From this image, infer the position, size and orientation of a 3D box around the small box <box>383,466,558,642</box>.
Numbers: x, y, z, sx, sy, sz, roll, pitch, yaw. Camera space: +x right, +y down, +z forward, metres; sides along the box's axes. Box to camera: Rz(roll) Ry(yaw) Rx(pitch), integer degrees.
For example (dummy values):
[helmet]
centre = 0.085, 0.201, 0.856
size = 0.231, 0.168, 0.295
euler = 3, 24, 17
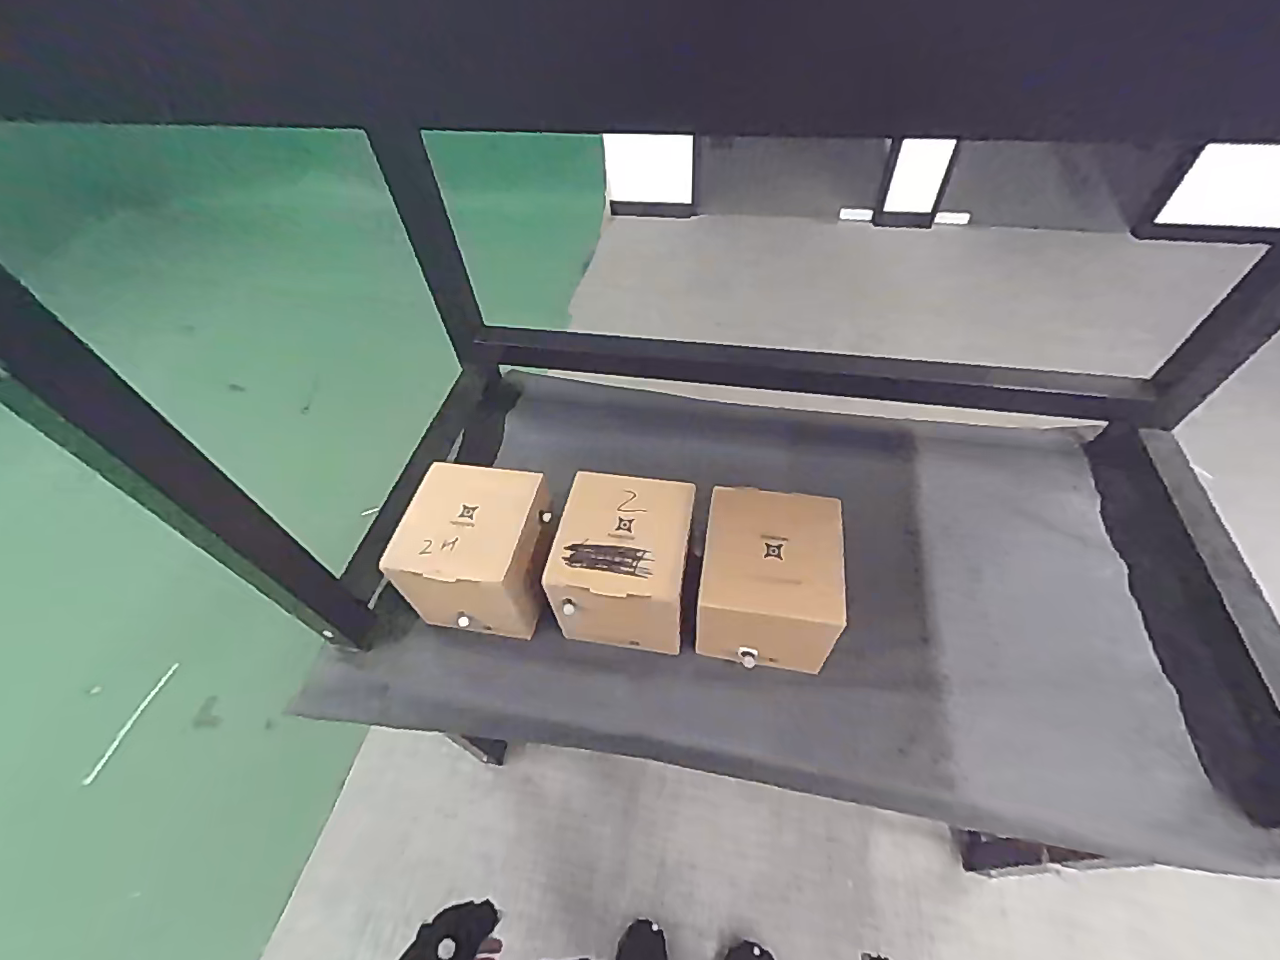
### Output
[small box]
centre = -0.222, 0.105, 0.768
size = 0.168, 0.176, 0.179
euler = 6, 52, 8
